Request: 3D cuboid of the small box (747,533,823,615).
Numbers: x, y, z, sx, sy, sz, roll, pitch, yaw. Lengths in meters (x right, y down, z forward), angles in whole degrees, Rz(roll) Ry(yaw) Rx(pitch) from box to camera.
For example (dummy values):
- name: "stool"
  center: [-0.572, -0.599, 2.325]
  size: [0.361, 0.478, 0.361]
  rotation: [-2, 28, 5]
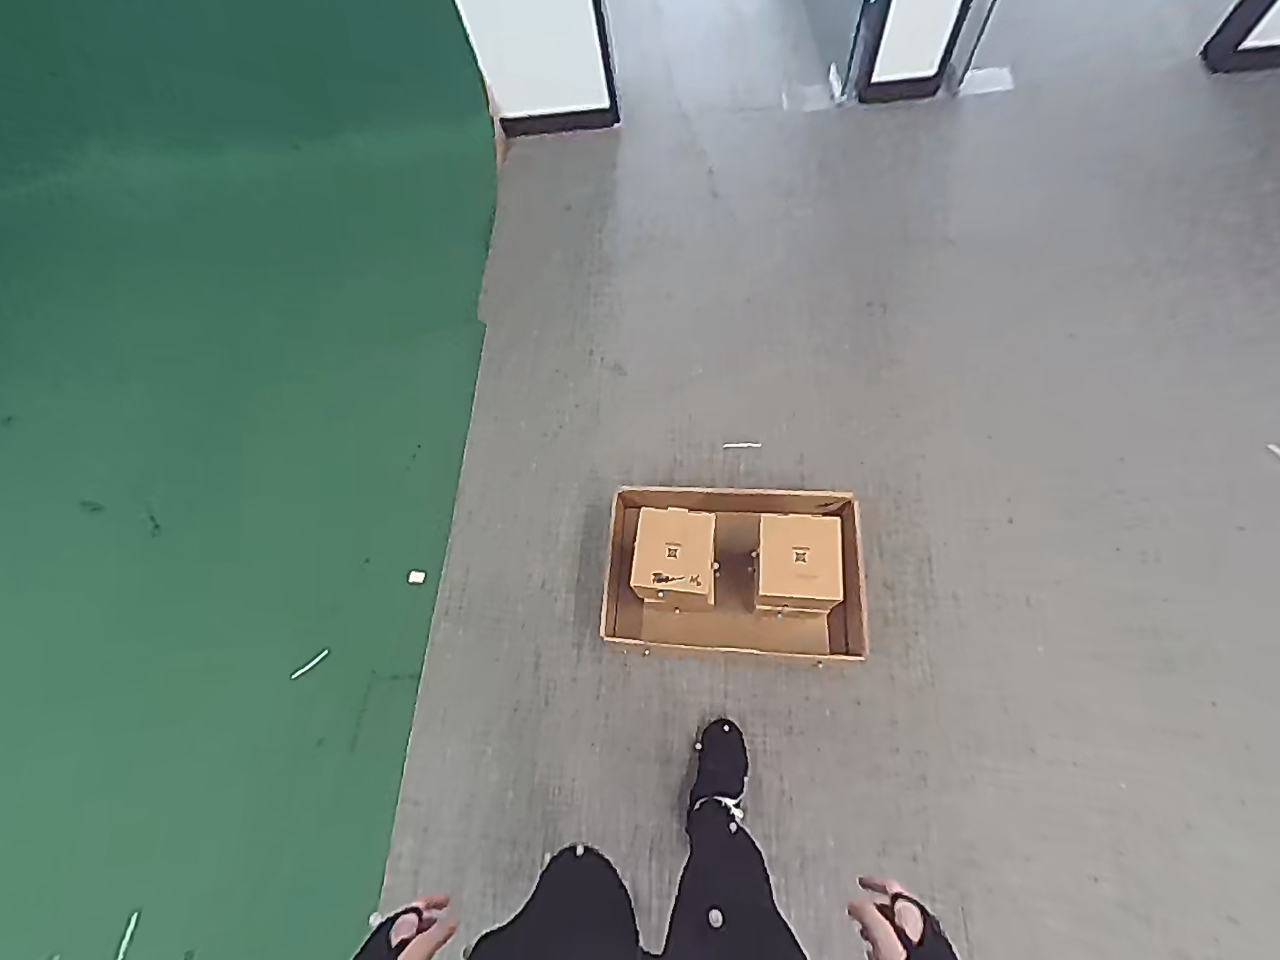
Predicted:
- name: "small box"
  center: [0.358, 0.239, 1.351]
  size: [0.168, 0.176, 0.179]
  rotation: [1, 69, 8]

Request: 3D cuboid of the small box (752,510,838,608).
- name: "small box"
  center: [0.337, 0.179, 1.200]
  size: [0.168, 0.176, 0.179]
  rotation: [3, 70, 10]

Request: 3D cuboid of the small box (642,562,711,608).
- name: "small box"
  center: [0.098, 0.230, 1.382]
  size: [0.168, 0.176, 0.179]
  rotation: [1, 70, 5]

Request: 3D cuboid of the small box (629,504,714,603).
- name: "small box"
  center: [0.077, 0.170, 1.230]
  size: [0.168, 0.176, 0.179]
  rotation: [6, 69, 9]
